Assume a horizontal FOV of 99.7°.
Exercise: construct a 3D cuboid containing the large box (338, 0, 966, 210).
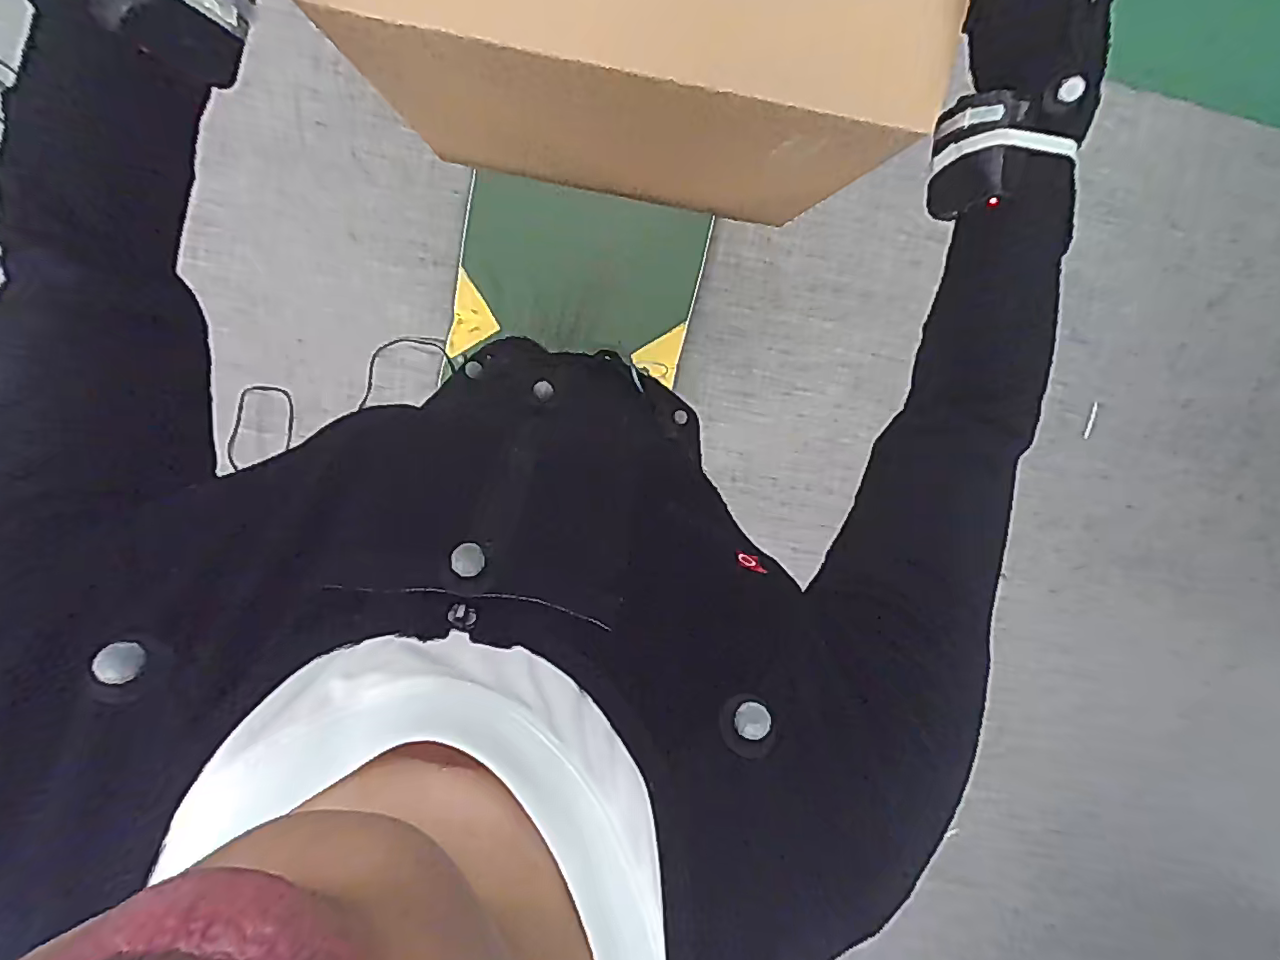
[{"bbox_3d":[0.014,-0.451,0.449,0.408,0.320,0.320,7,105,-7],"label":"large box"}]
